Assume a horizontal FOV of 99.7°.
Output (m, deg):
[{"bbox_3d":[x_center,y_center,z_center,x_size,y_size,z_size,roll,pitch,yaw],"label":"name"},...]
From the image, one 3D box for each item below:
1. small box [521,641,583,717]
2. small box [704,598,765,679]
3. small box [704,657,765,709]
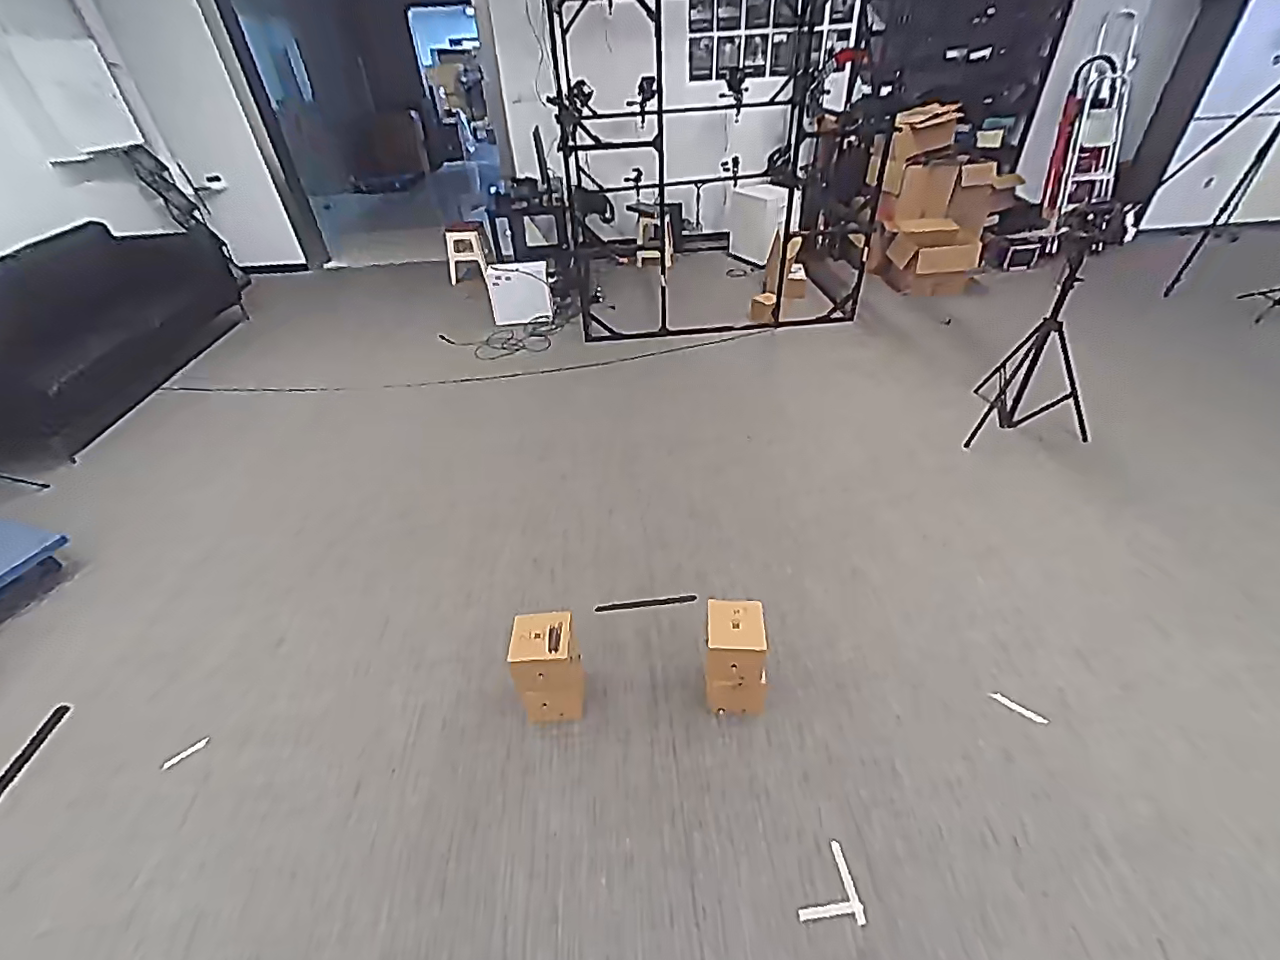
[{"bbox_3d":[-0.276,0.645,1.741,0.168,0.176,0.179,-5,38,0],"label":"small box"},{"bbox_3d":[0.282,0.480,1.635,0.168,0.176,0.179,1,39,5],"label":"small box"},{"bbox_3d":[0.297,0.616,1.728,0.168,0.176,0.179,-2,38,0],"label":"small box"}]
